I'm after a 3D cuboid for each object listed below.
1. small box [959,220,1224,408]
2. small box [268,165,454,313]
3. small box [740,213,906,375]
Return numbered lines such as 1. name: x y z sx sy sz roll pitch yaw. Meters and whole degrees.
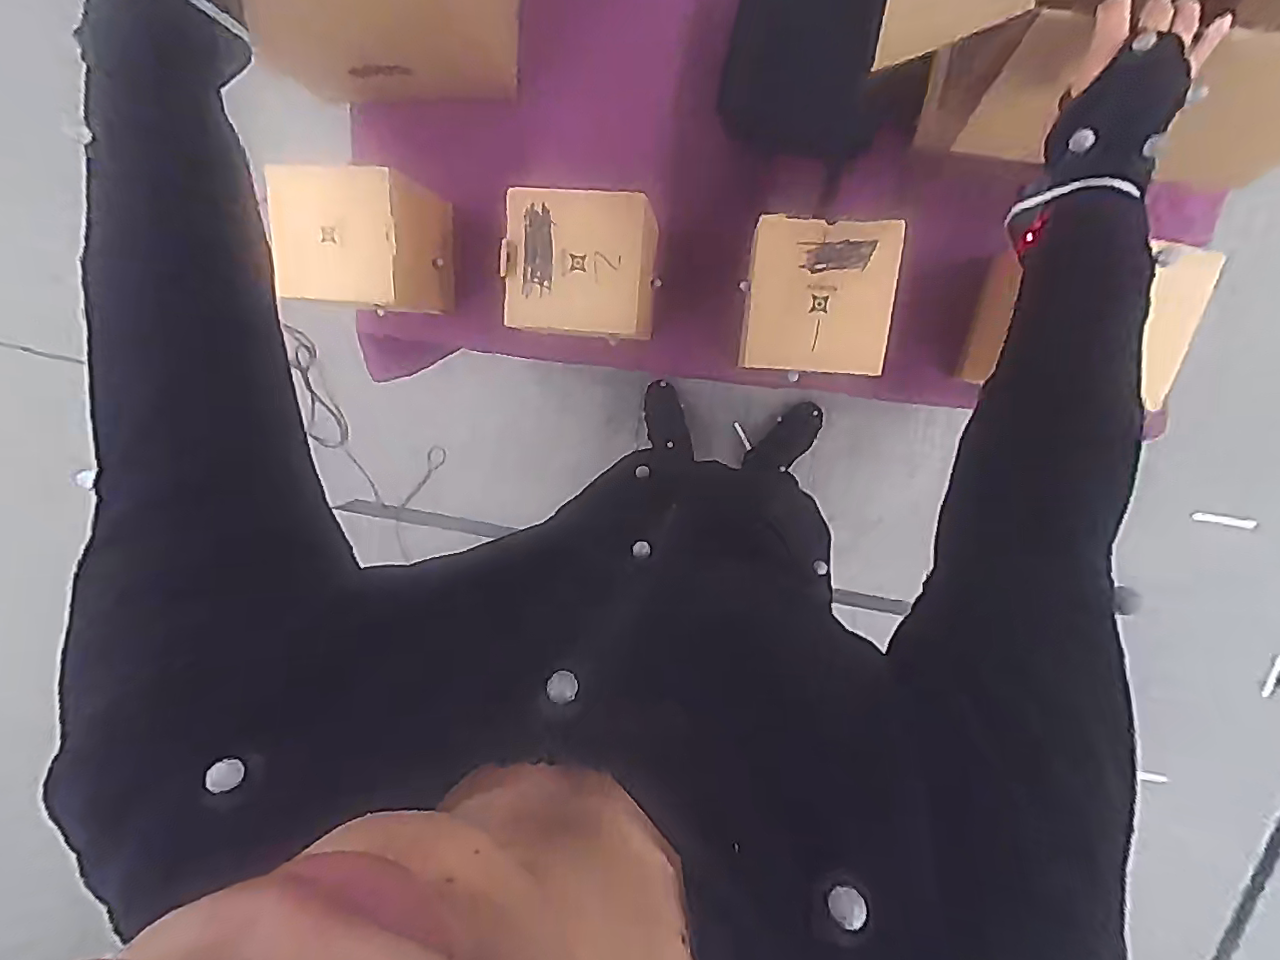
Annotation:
1. small box: 0.535 -0.198 0.676 0.168 0.176 0.179 14 104 6
2. small box: -0.391 -0.337 0.784 0.179 0.176 0.168 4 103 6
3. small box: 0.225 -0.236 0.715 0.168 0.176 0.179 6 104 8
